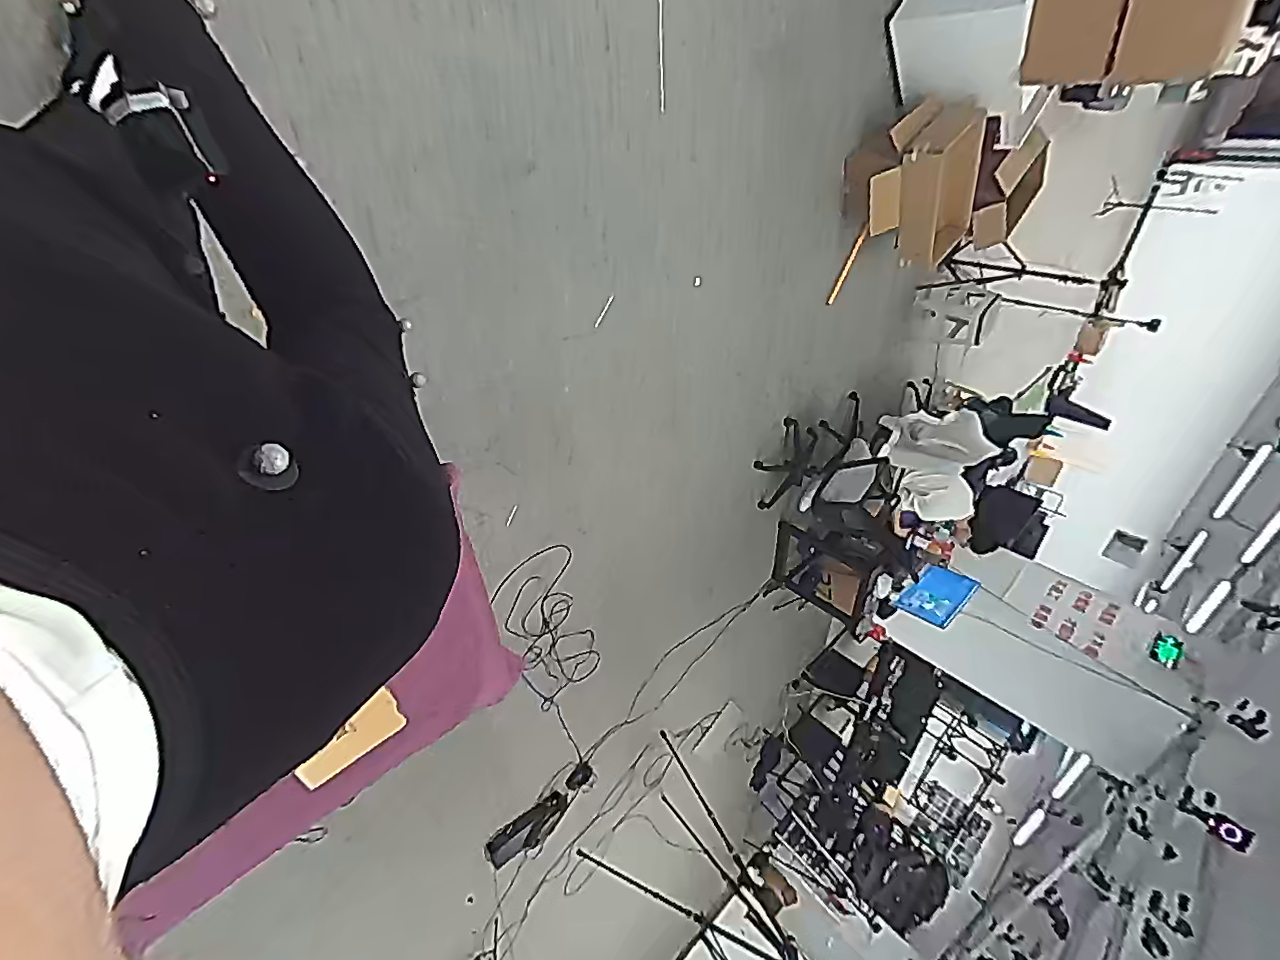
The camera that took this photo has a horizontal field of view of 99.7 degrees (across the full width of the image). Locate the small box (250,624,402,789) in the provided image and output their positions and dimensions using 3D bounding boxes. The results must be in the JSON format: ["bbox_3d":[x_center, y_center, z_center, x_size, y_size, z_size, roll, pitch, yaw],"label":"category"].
[{"bbox_3d":[-0.568,0.399,0.976,0.179,0.176,0.168,-32,134,-32],"label":"small box"}]
